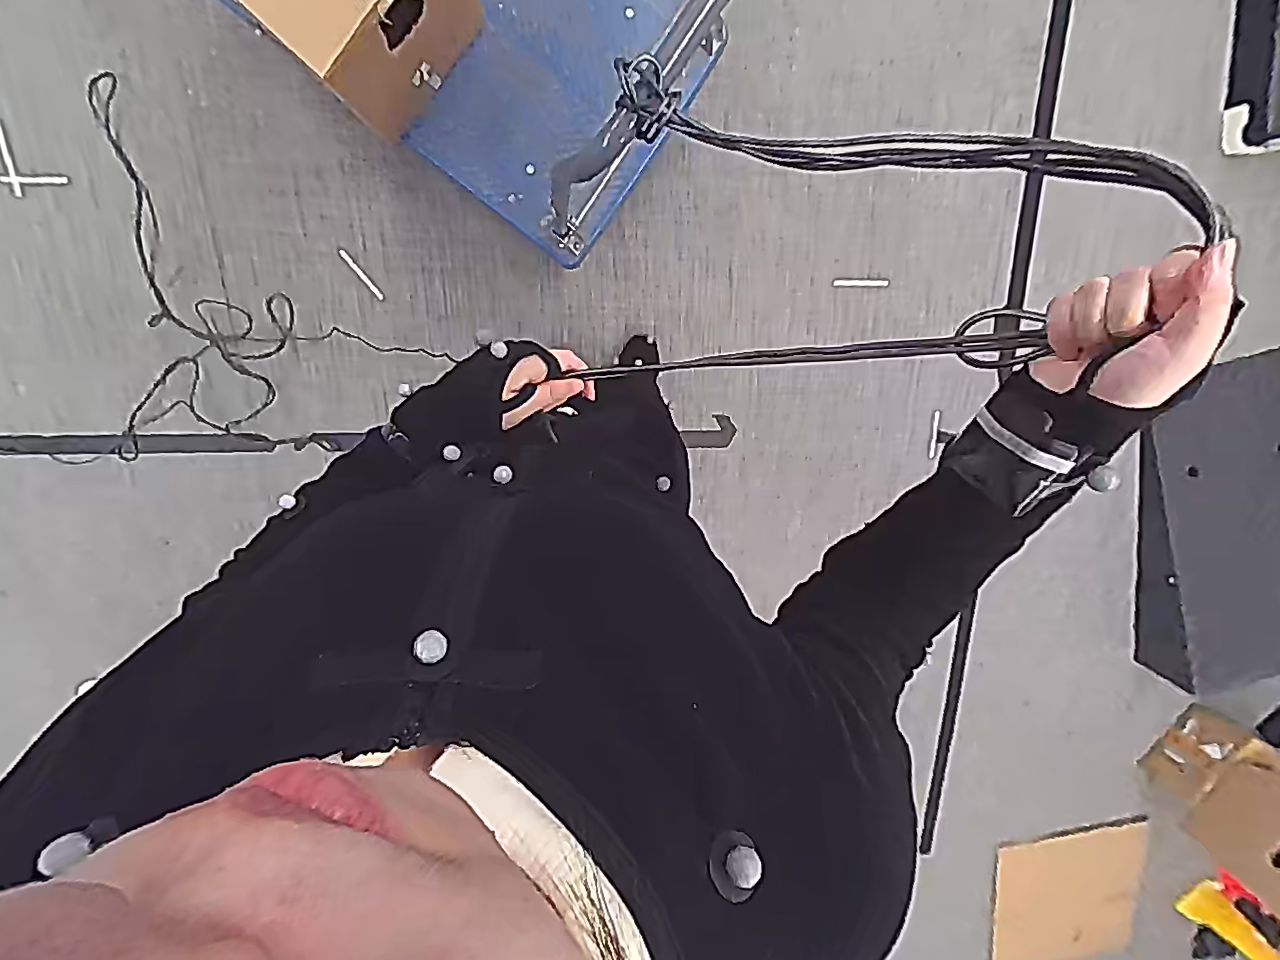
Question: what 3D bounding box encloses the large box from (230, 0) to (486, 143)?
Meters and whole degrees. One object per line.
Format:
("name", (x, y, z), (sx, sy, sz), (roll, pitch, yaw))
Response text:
("large box", (-0.525, -0.862, 0.875), (0.408, 0.320, 0.320), (40, 97, -14))
